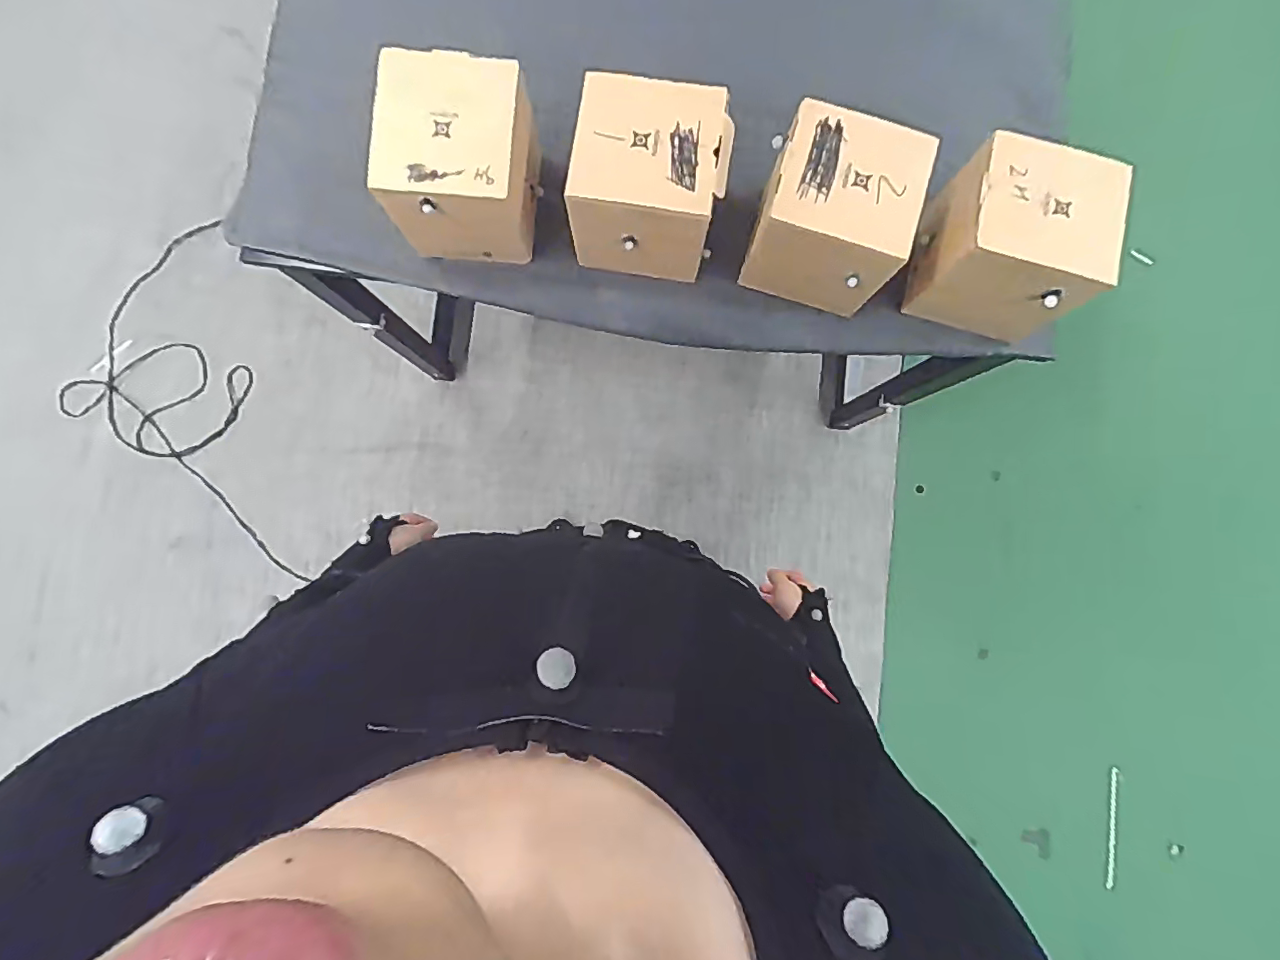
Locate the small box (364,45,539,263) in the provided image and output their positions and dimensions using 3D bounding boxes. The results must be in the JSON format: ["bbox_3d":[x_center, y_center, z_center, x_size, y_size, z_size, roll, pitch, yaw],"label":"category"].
[{"bbox_3d":[-0.233,-0.415,0.713,0.168,0.176,0.179,5,86,0],"label":"small box"}]
